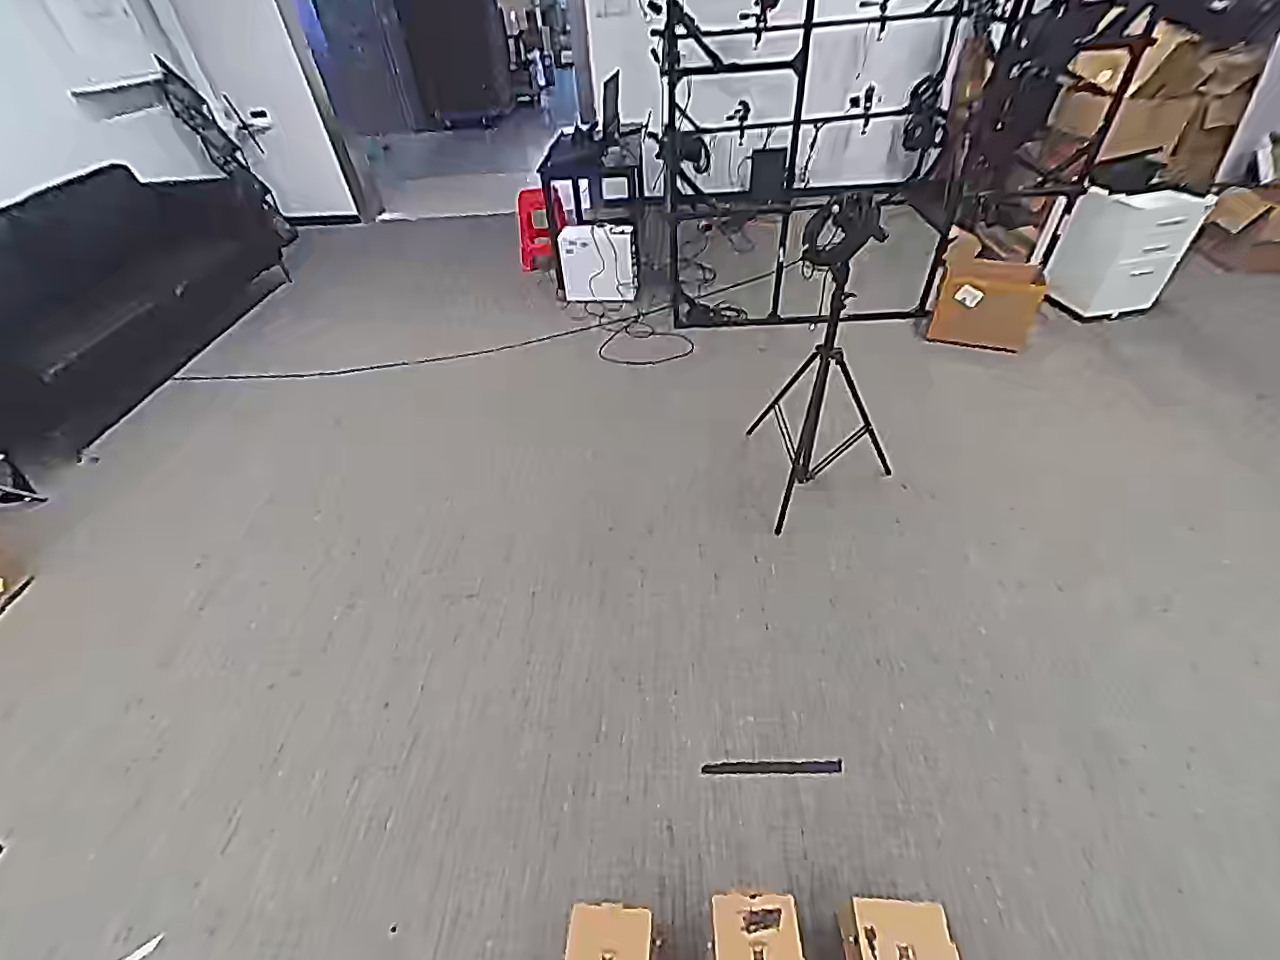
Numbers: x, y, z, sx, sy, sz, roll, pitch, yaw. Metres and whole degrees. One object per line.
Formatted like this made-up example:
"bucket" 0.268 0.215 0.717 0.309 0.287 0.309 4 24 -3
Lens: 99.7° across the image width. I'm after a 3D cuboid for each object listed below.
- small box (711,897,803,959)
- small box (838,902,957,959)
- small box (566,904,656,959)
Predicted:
"small box" 0.230 0.957 1.076 0.168 0.176 0.179 -2 43 3
"small box" 0.506 0.951 1.060 0.179 0.176 0.168 1 43 5
"small box" -0.057 0.981 1.082 0.168 0.176 0.179 -1 44 7
